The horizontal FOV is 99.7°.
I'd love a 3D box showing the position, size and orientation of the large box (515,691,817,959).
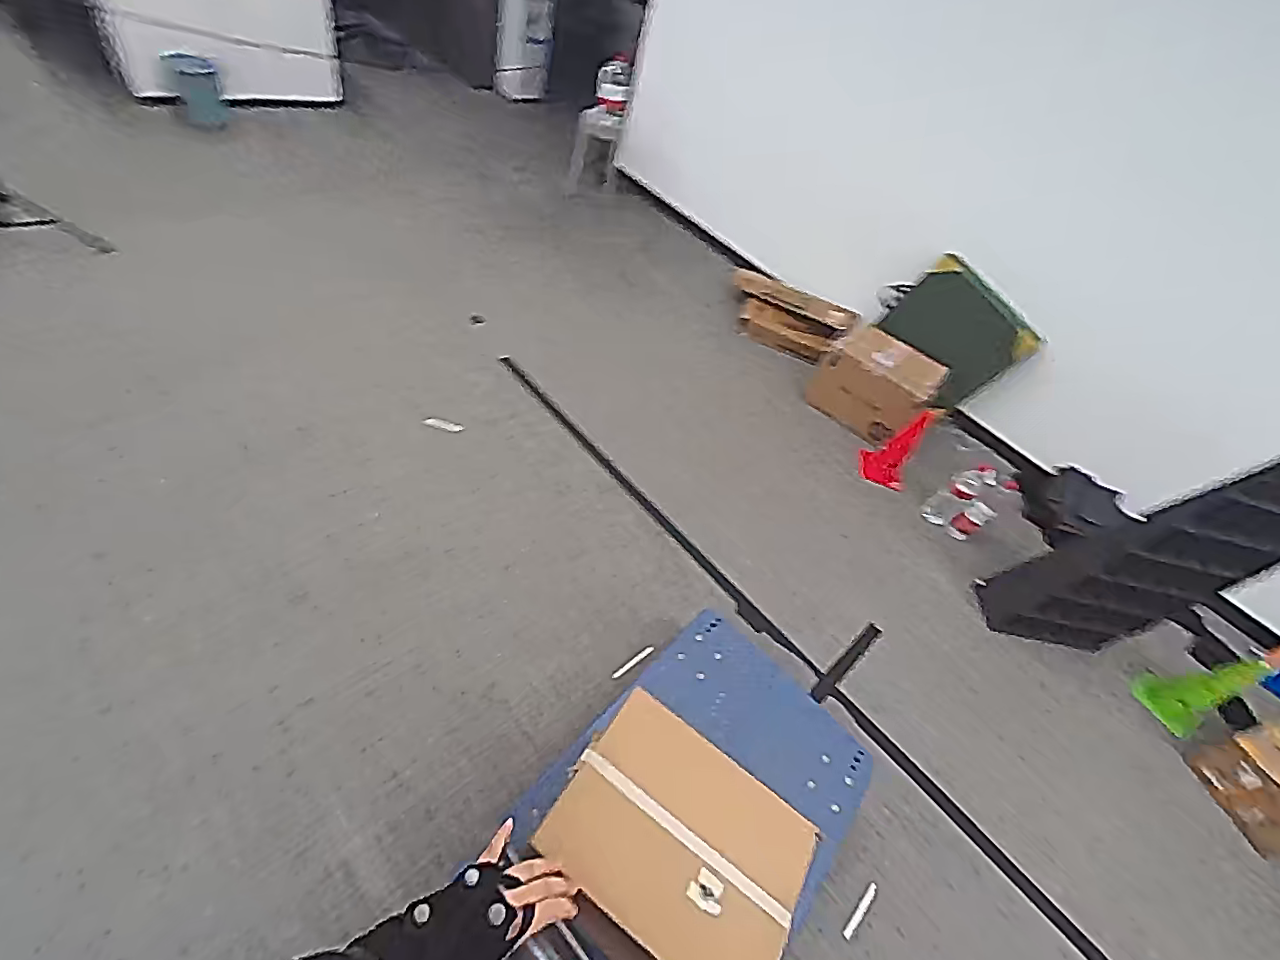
[{"bbox_3d":[0.034,0.682,0.998,0.408,0.320,0.320,36,48,11],"label":"large box"}]
